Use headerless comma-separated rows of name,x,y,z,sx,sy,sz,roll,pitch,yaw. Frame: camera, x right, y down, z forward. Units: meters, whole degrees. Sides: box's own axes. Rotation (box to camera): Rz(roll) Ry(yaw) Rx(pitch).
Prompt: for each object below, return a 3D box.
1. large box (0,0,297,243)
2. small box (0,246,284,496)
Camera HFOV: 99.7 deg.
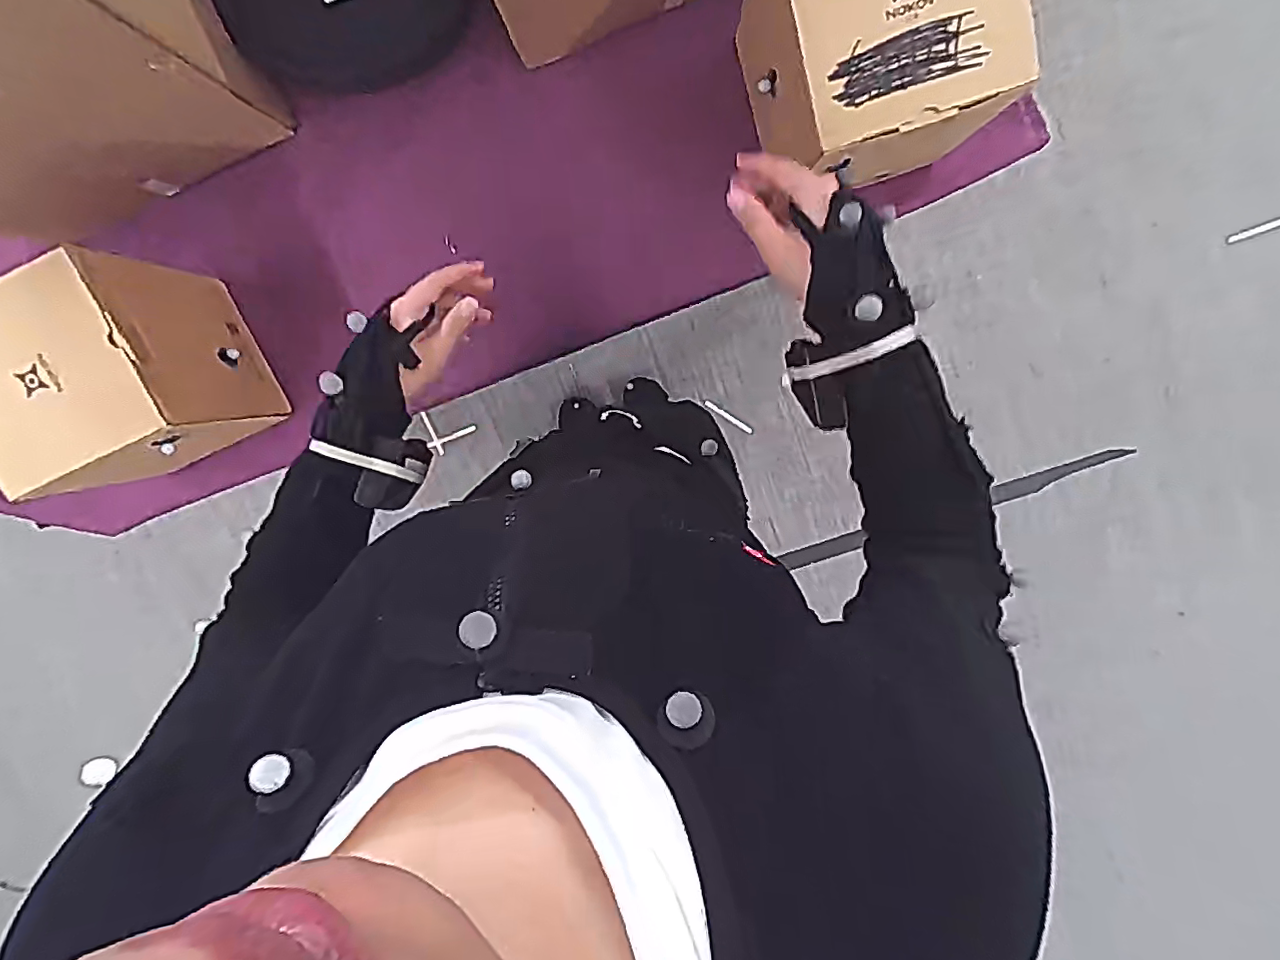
large box,-0.576,-0.461,0.406,0.320,0.320,0.408,-22,102,6
small box,-0.519,-0.103,0.546,0.179,0.176,0.168,-24,99,5
